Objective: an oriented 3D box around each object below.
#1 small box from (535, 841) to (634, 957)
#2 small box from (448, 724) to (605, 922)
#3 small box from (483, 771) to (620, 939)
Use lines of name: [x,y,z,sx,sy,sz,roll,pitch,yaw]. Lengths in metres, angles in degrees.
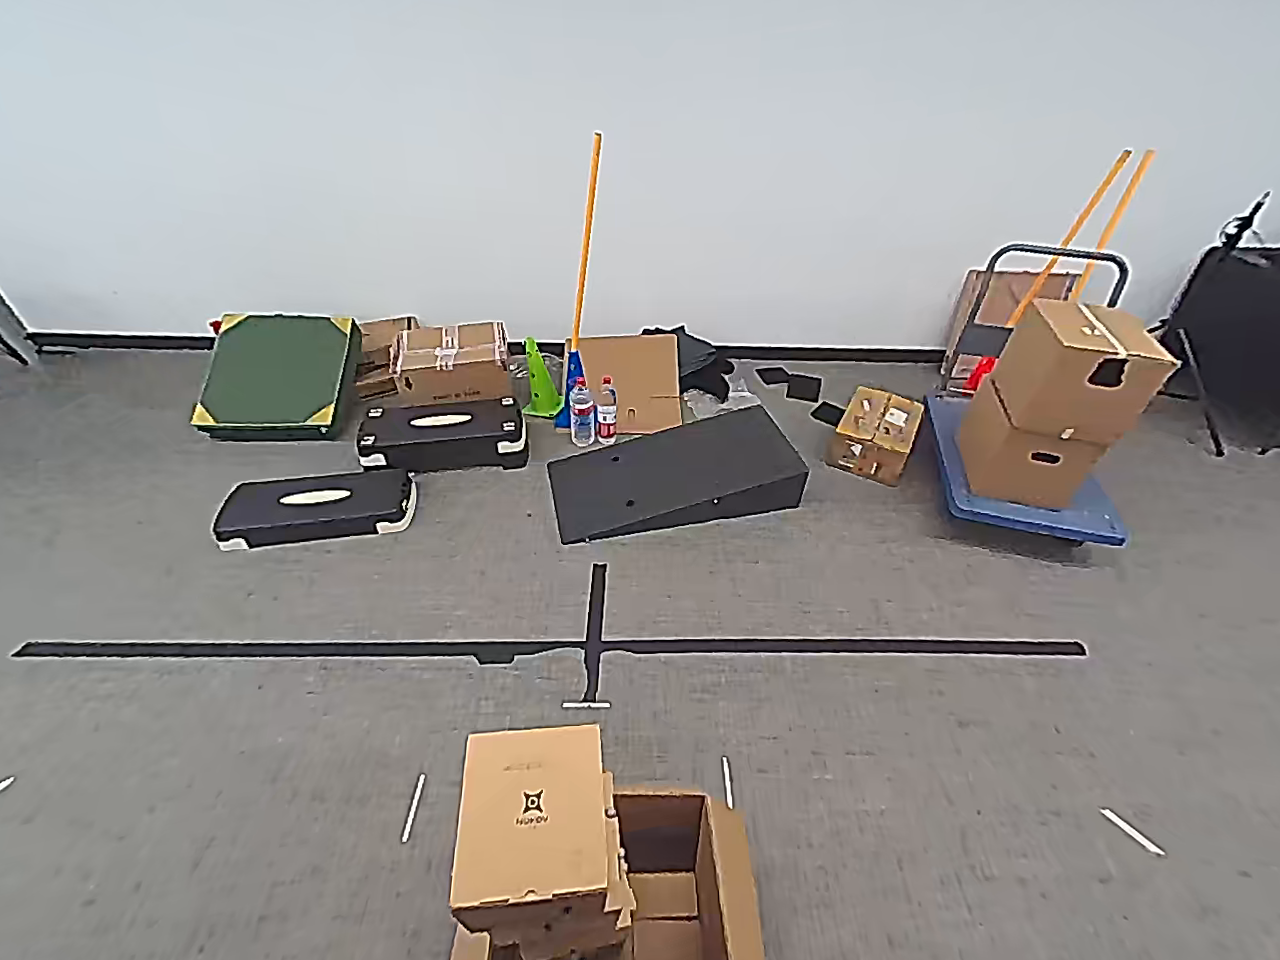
small box: [-0.124,0.770,1.032,0.179,0.176,0.168,-11,46,-19]
small box: [-0.130,0.429,0.674,0.168,0.176,0.179,0,44,-8]
small box: [-0.125,0.547,0.789,0.179,0.176,0.168,-1,45,-8]
